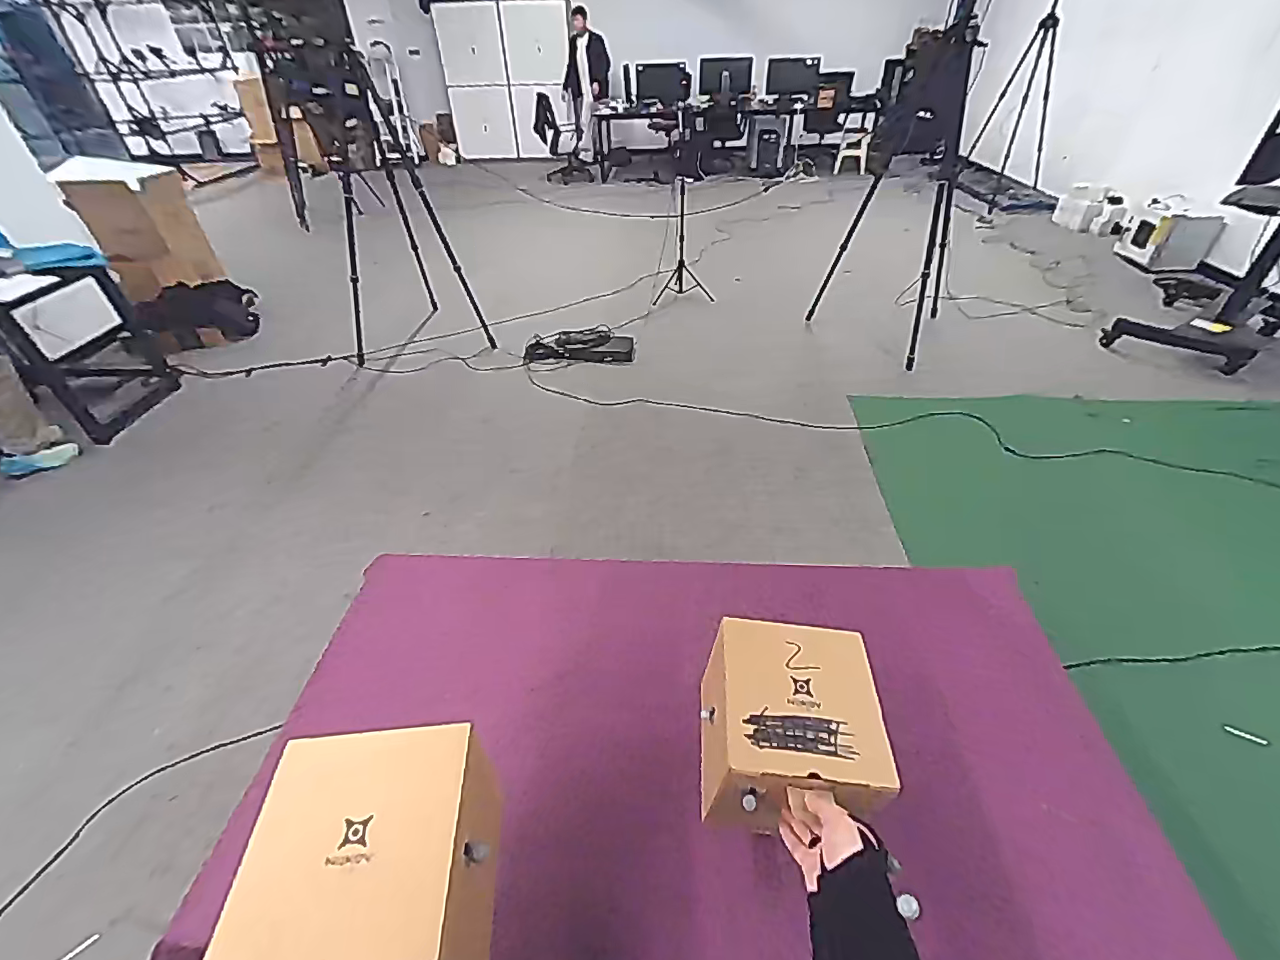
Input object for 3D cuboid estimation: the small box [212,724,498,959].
[{"bbox_3d":[-0.232,0.355,0.500,0.168,0.176,0.179,-4,41,-4],"label":"small box"}]
